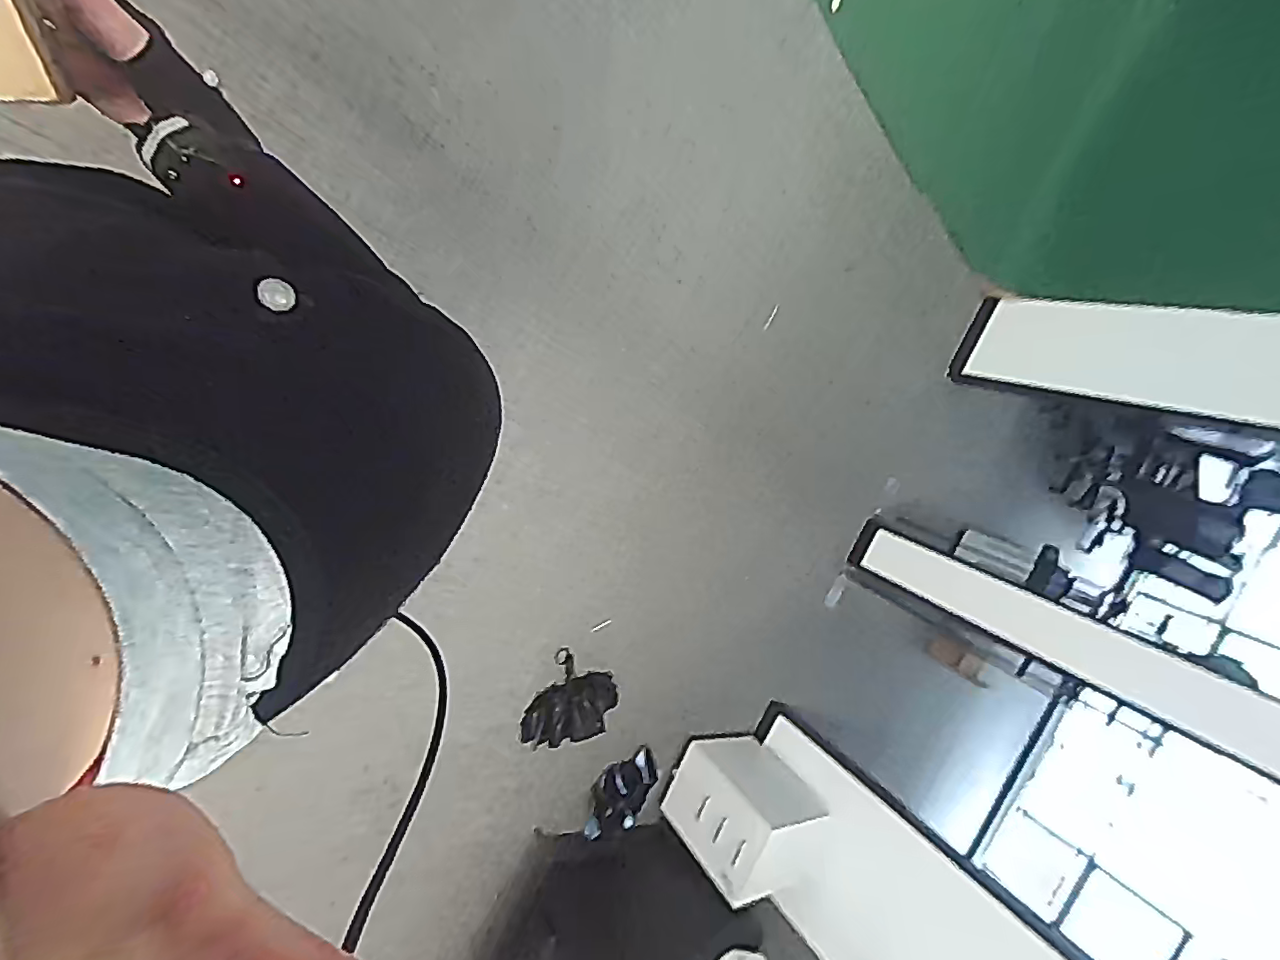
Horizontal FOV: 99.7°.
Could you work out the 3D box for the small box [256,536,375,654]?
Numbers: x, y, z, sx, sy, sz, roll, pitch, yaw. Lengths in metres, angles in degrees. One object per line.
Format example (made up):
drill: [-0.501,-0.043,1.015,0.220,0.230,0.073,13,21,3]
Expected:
small box: [-0.769,0.267,1.282,0.179,0.176,0.168,-41,129,-18]

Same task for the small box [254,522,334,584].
small box: [-0.872,0.240,1.410,0.168,0.176,0.179,-30,123,-24]

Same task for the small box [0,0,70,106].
small box: [-0.478,-0.312,0.300,0.179,0.176,0.168,-21,131,-31]
